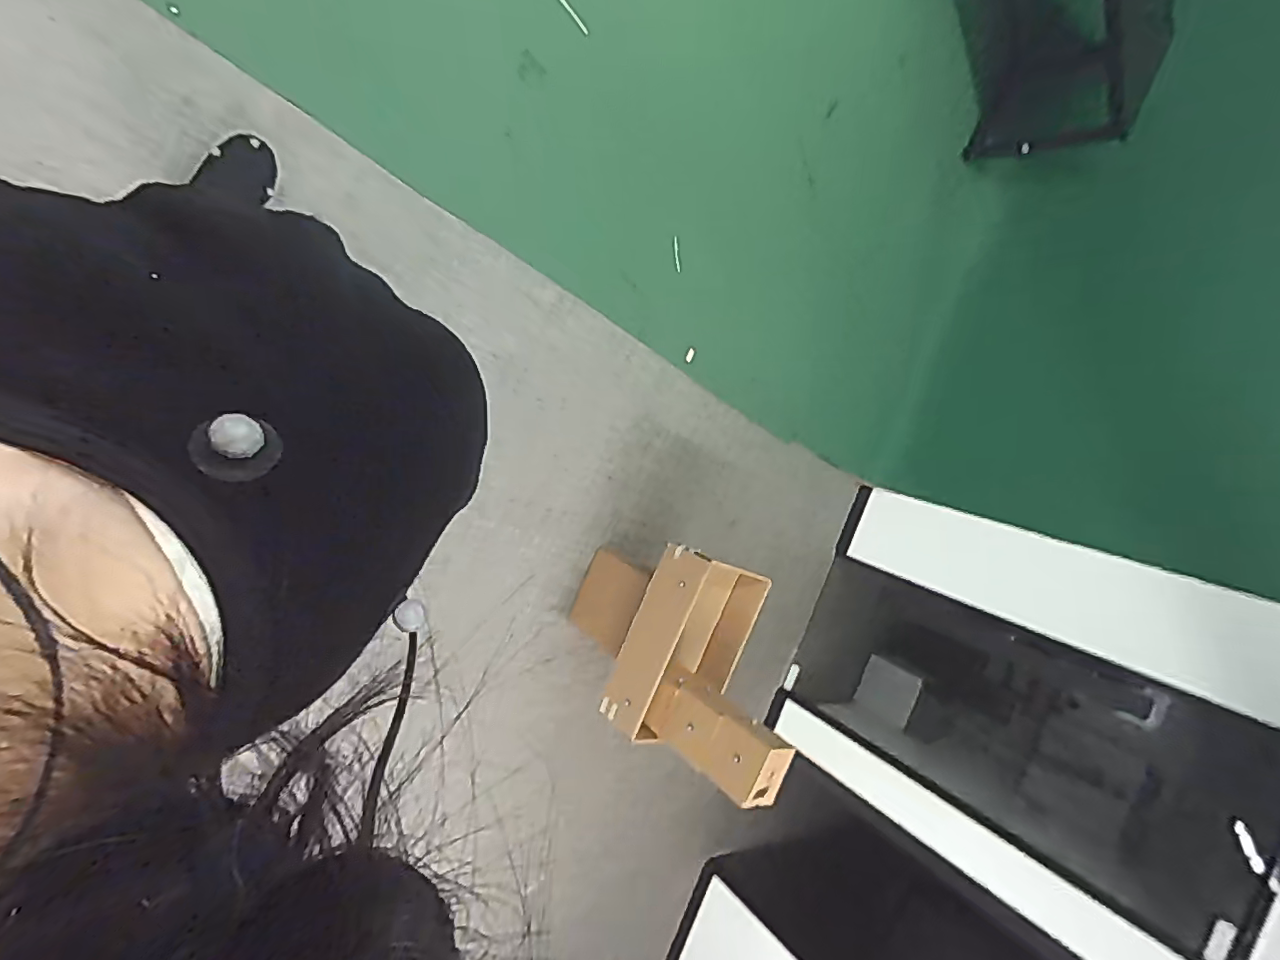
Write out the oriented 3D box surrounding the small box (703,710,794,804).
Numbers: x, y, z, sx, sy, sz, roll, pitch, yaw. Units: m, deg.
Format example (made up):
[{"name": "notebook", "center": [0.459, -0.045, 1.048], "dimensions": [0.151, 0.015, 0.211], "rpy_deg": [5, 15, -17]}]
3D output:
[{"name": "small box", "center": [0.307, 0.800, 1.568], "dimensions": [0.168, 0.176, 0.179], "rpy_deg": [29, 86, -44]}]
